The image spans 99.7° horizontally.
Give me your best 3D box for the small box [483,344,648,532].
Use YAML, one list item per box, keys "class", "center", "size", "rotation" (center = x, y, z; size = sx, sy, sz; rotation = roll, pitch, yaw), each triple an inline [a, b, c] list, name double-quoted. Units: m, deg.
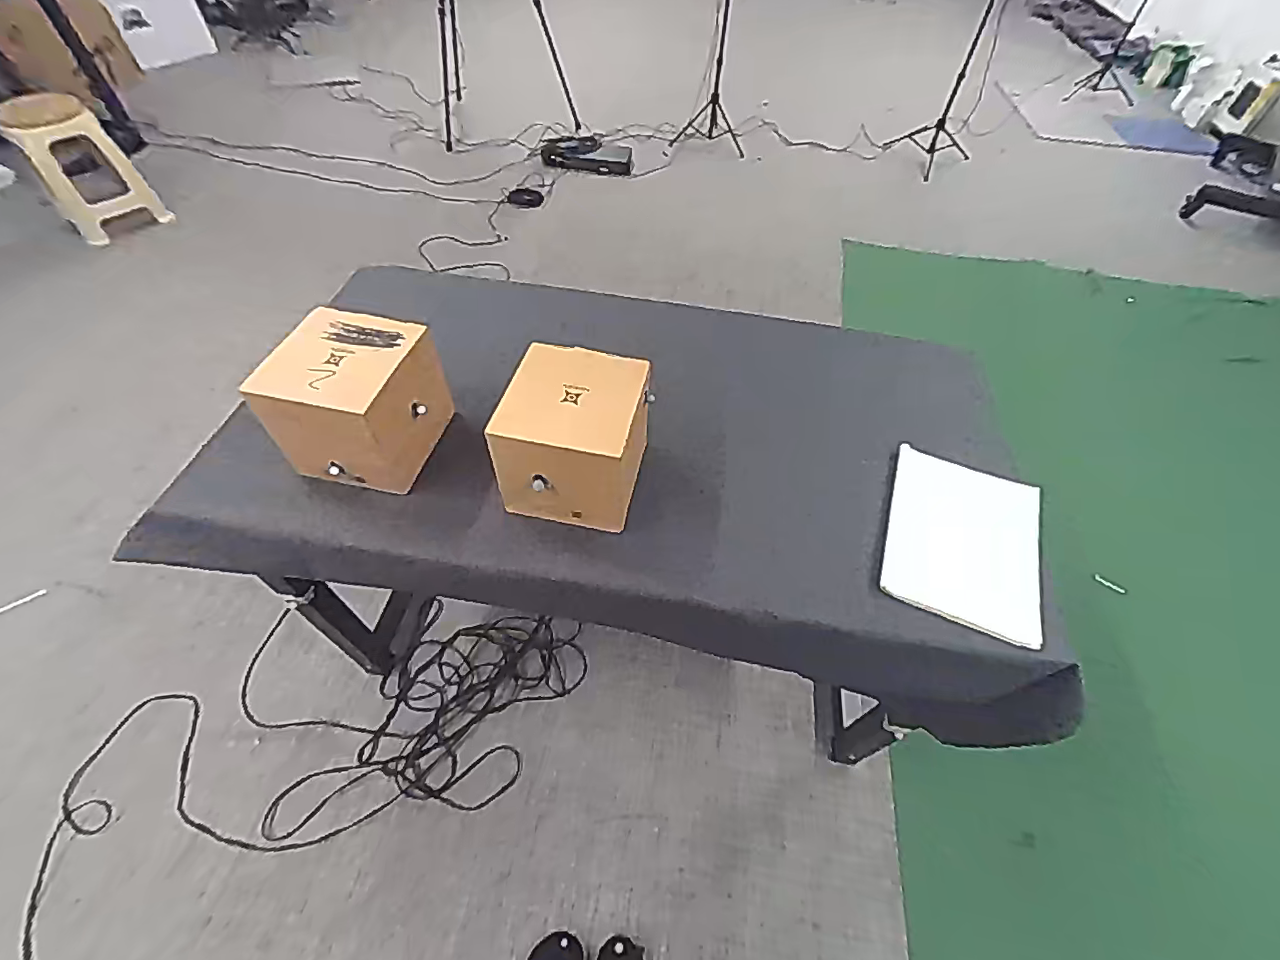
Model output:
- class: "small box"
  center: [-0.087, -0.052, 0.724]
  size: [0.168, 0.176, 0.179]
  rotation: [10, 52, 6]
